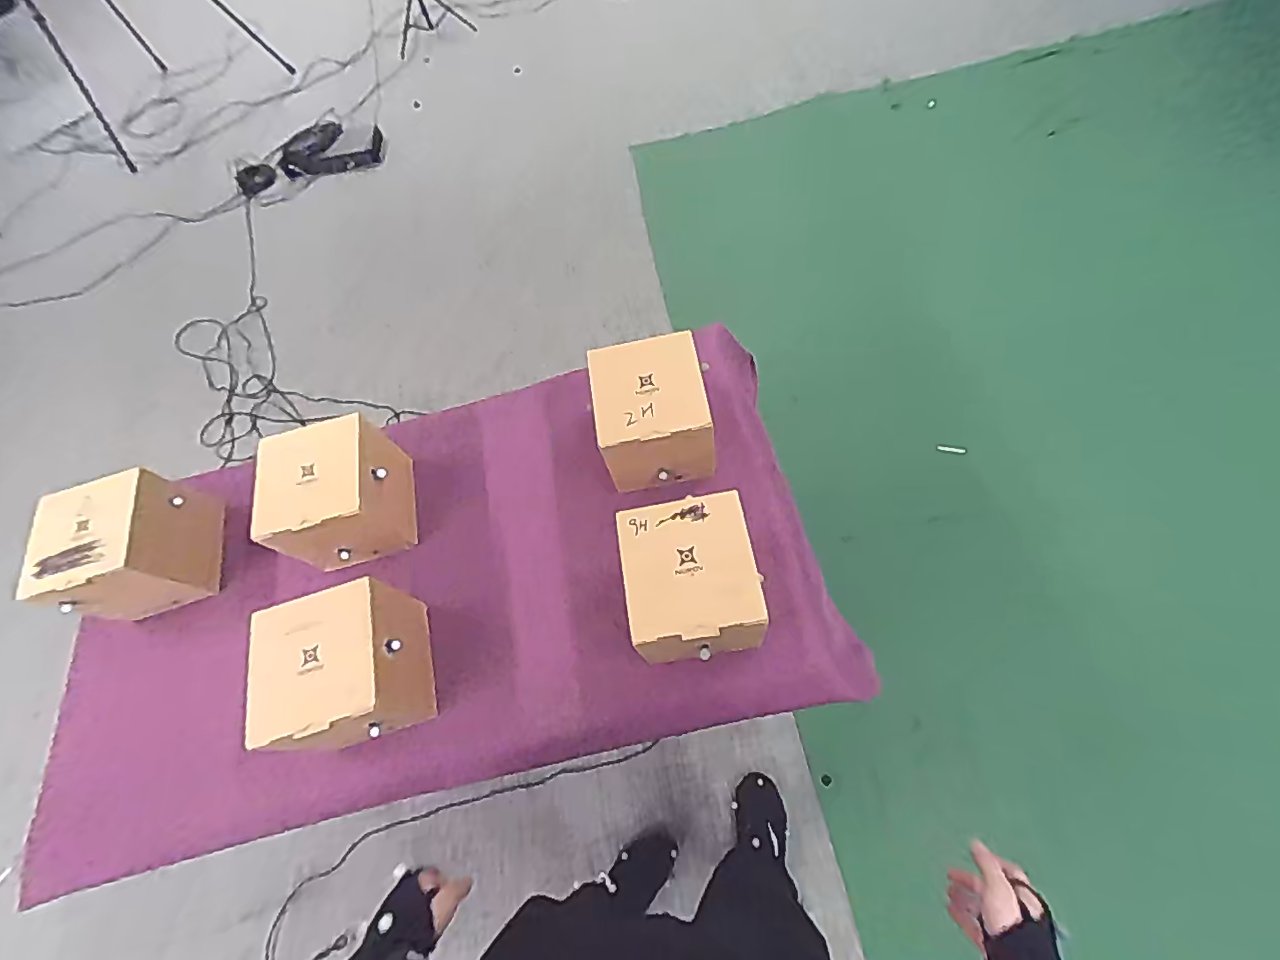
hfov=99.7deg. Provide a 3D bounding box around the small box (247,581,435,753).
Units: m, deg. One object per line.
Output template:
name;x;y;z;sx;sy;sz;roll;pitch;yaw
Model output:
small box;-0.404;0.265;0.755;0.168;0.176;0.179;-17;62;-1

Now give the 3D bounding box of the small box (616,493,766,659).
small box;0.070;0.140;0.737;0.168;0.176;0.179;-11;63;4

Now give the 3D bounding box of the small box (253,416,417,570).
small box;-0.483;0.027;0.880;0.168;0.176;0.179;-16;65;1

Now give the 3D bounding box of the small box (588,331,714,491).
small box;0.021;-0.103;0.860;0.168;0.176;0.179;-11;65;5
